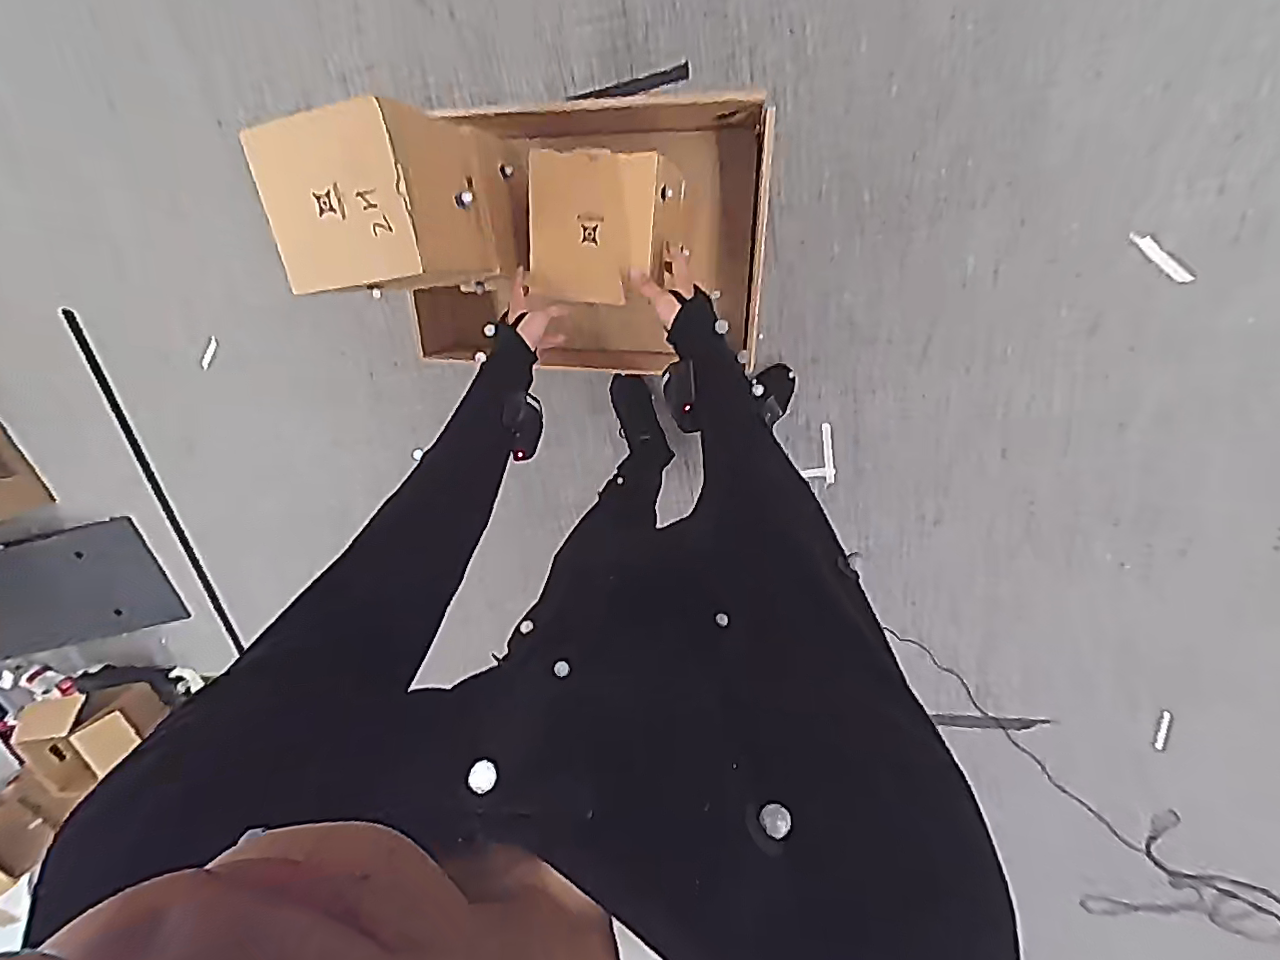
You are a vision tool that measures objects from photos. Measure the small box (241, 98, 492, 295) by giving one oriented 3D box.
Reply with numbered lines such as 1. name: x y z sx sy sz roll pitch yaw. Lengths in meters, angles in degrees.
1. small box: -0.305 -0.317 0.639 0.179 0.176 0.168 -3 111 14

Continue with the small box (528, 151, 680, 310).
1. small box: -0.044 -0.339 0.750 0.168 0.176 0.179 9 113 12
